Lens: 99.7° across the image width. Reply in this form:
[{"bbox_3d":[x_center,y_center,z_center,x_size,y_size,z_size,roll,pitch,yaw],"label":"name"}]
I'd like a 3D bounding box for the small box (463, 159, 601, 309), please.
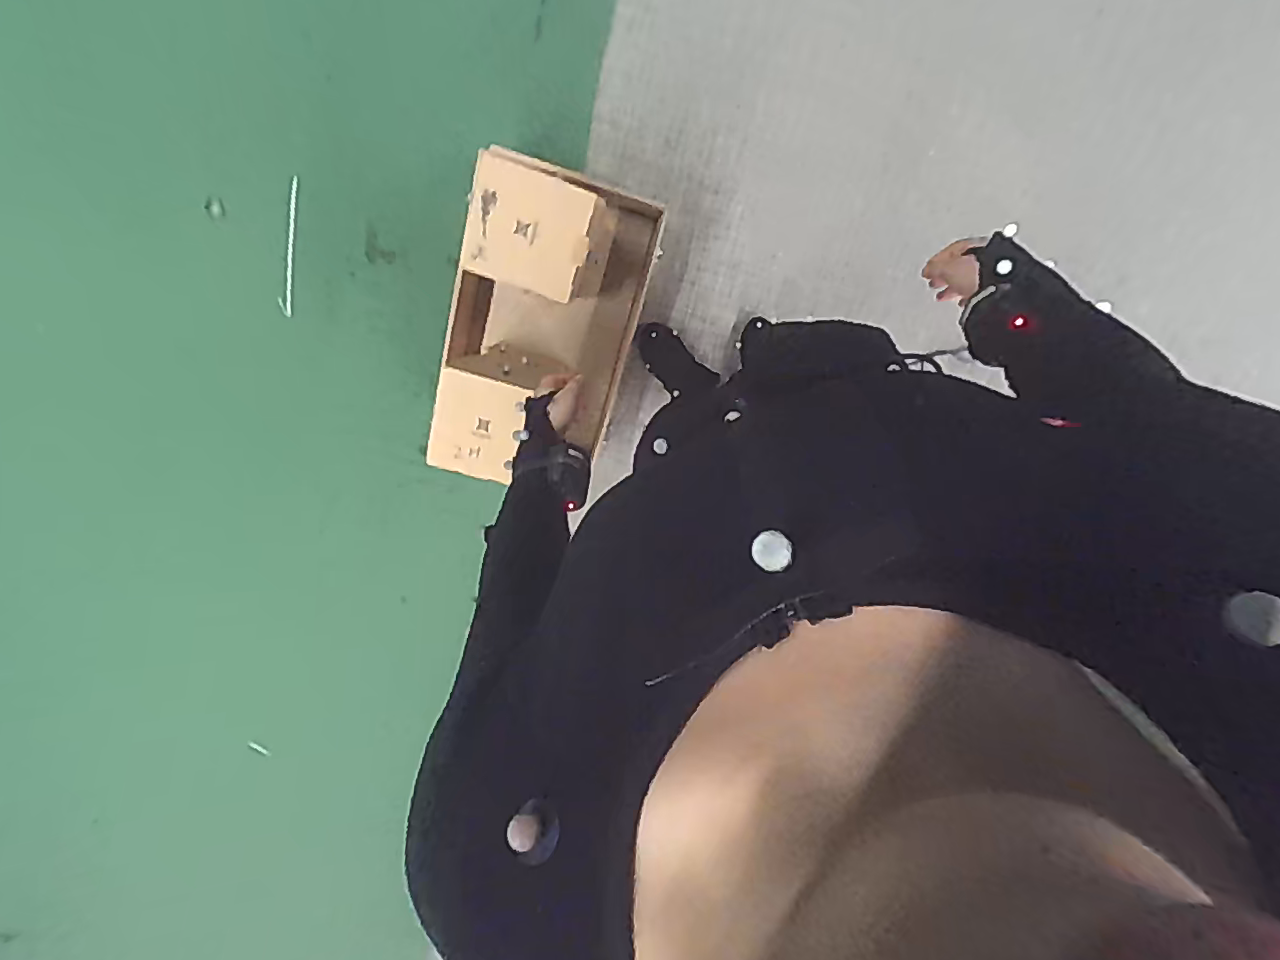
[{"bbox_3d":[-0.169,-0.396,0.889,0.179,0.176,0.168,16,109,-9],"label":"small box"}]

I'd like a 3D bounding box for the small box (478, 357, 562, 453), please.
[{"bbox_3d":[-0.268,-0.150,1.146,0.168,0.176,0.179,14,107,-7],"label":"small box"}]

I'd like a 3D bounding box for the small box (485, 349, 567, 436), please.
[{"bbox_3d":[-0.280,-0.210,1.298,0.179,0.176,0.168,14,108,-6],"label":"small box"}]

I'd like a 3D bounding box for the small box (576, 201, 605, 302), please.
[{"bbox_3d":[-0.163,-0.455,1.043,0.168,0.176,0.179,12,109,-8],"label":"small box"}]

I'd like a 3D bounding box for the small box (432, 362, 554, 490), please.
[{"bbox_3d":[-0.259,-0.107,0.986,0.168,0.176,0.179,14,108,-6],"label":"small box"}]
